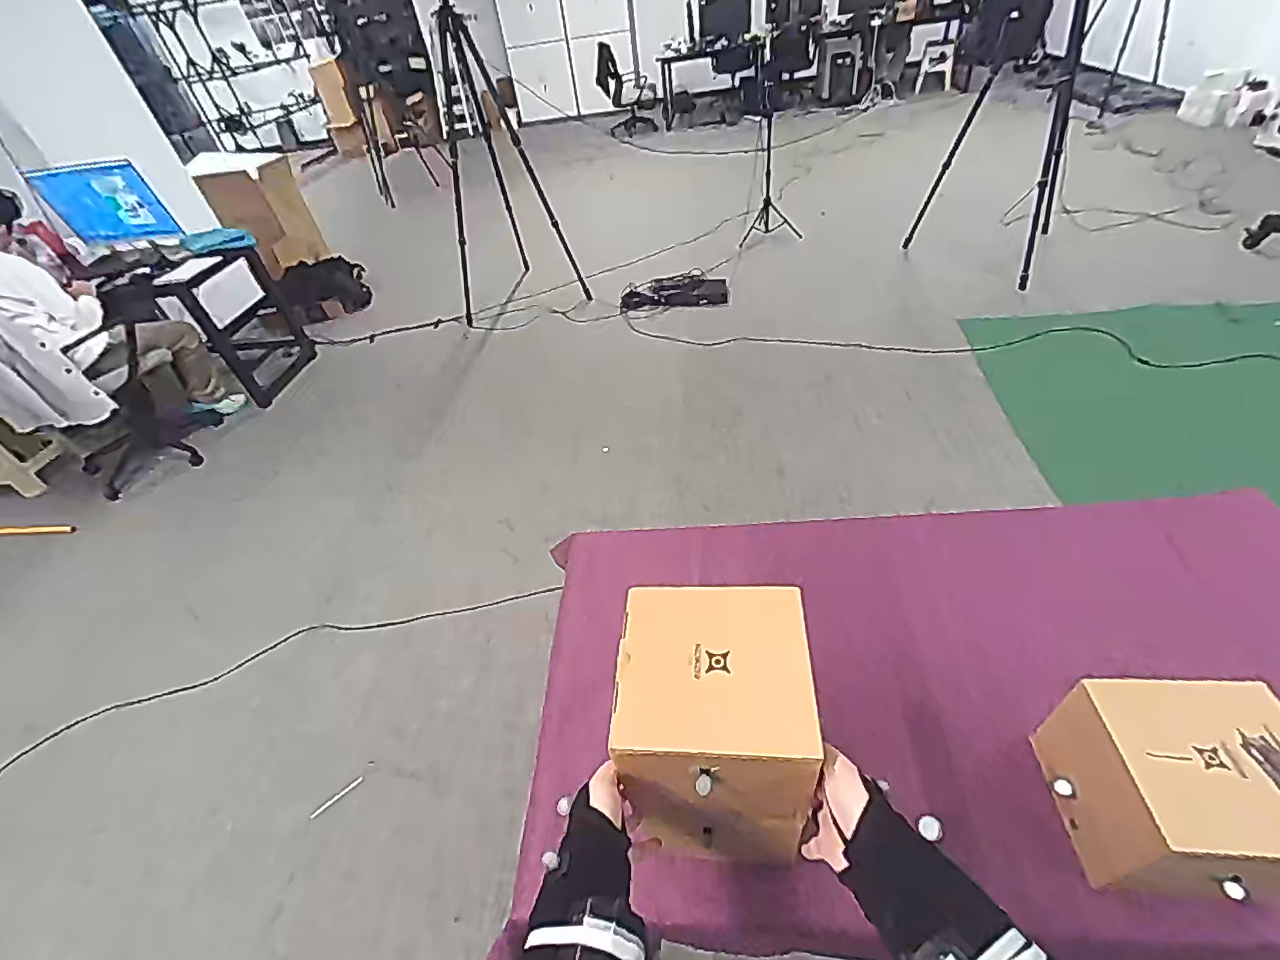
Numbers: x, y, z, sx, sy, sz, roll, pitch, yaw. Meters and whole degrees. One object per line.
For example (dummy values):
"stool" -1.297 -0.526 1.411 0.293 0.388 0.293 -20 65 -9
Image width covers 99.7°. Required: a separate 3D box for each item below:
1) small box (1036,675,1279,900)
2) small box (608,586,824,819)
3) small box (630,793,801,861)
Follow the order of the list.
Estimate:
"small box" 0.574 0.326 0.576 0.179 0.176 0.168 -3 43 10
"small box" 0.077 0.223 0.545 0.179 0.176 0.168 -3 43 10
"small box" 0.095 0.342 0.655 0.179 0.176 0.168 -2 44 10
